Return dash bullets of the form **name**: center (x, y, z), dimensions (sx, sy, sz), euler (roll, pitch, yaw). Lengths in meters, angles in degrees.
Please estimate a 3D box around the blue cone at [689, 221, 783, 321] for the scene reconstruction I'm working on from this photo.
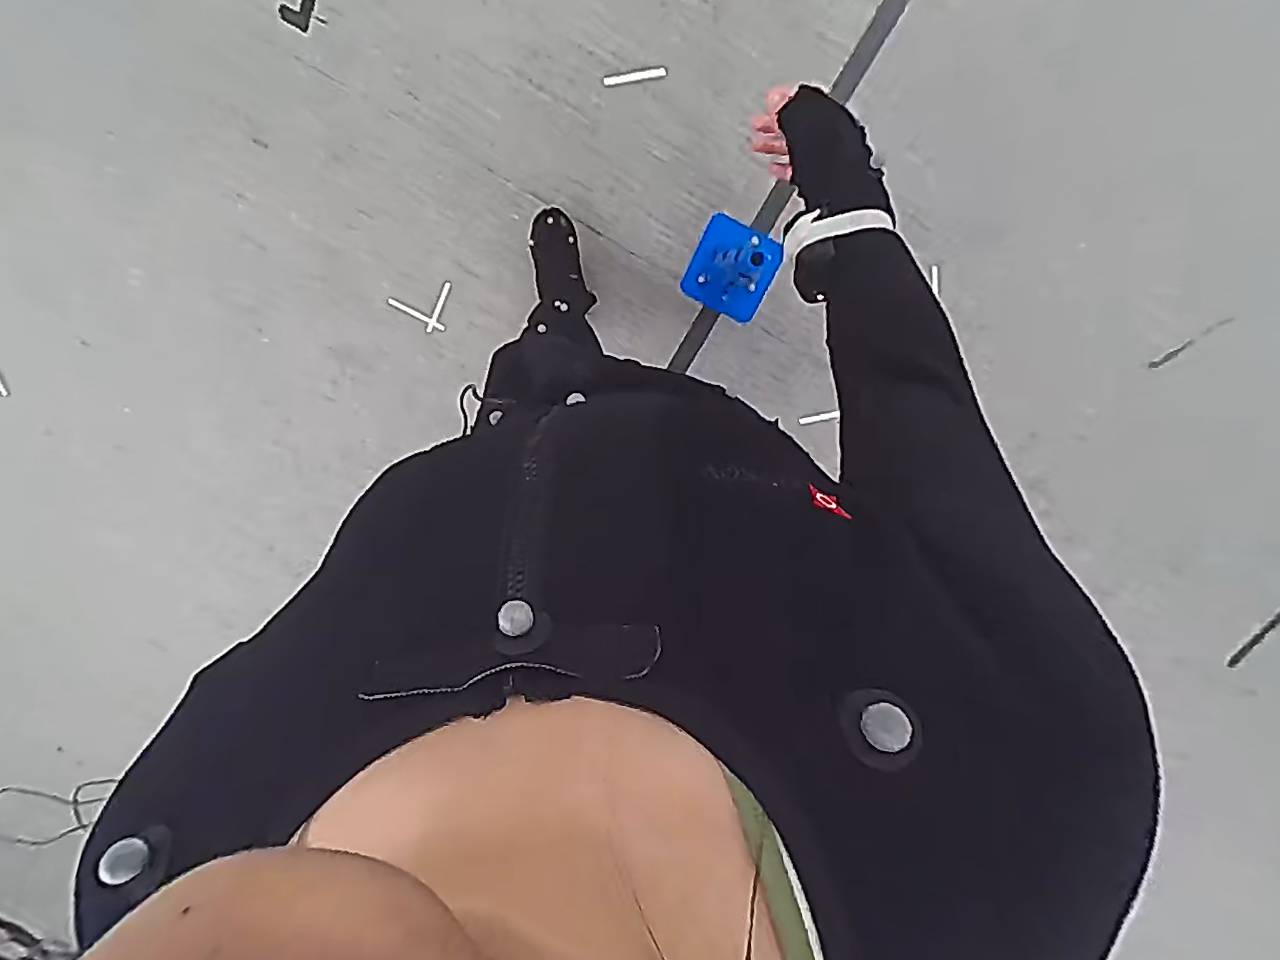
- **blue cone**: center (0.223, -0.441, 1.137), dimensions (0.192, 0.380, 0.193), euler (23, 109, -6)
